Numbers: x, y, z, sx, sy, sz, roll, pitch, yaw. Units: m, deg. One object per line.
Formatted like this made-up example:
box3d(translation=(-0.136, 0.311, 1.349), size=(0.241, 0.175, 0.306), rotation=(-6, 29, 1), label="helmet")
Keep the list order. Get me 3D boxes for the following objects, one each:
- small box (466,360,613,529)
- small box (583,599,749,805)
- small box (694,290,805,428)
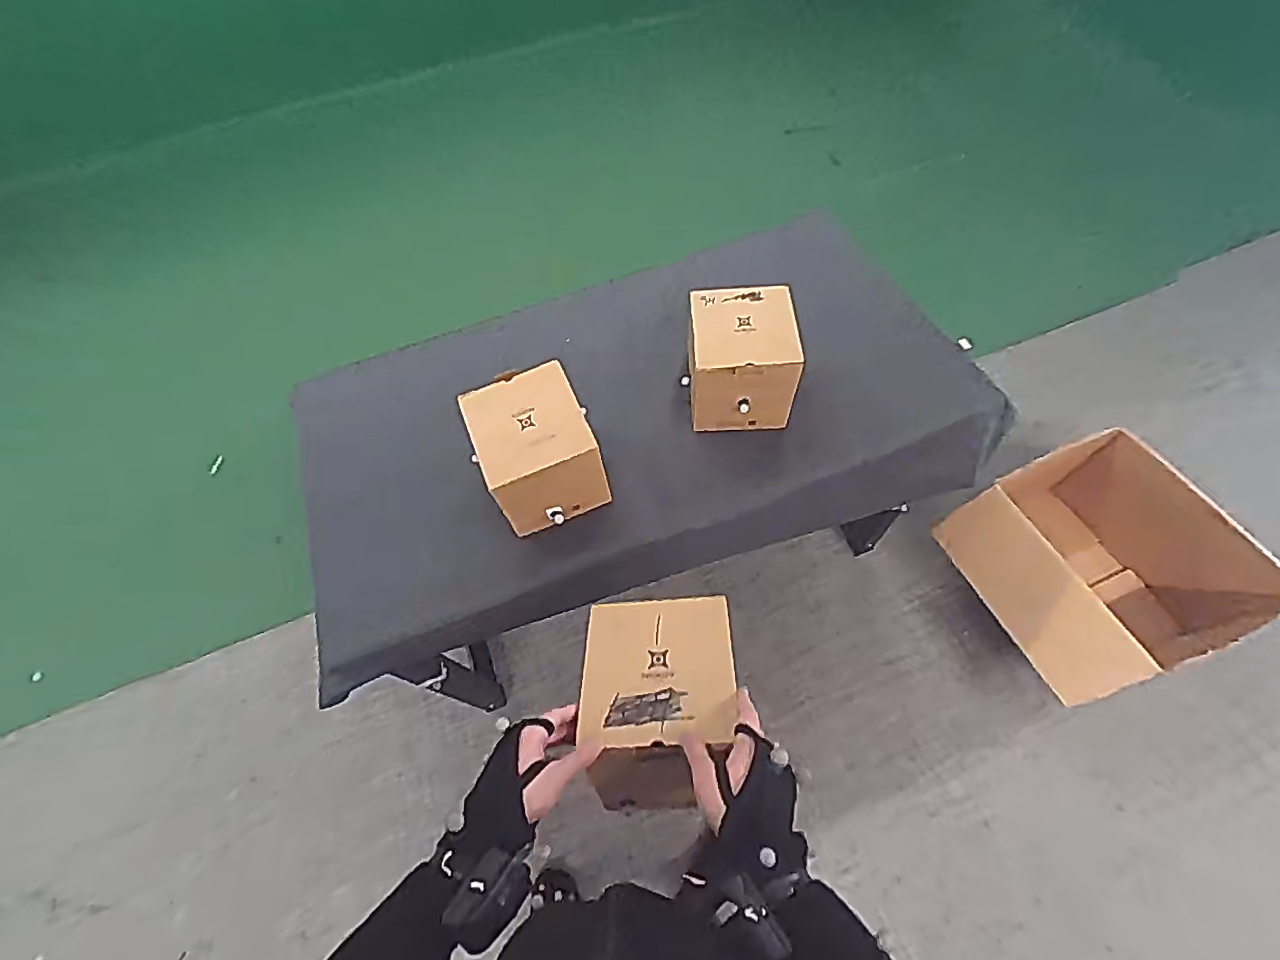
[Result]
box3d(translation=(-0.152, -0.052, 0.856), size=(0.168, 0.176, 0.179), rotation=(-22, 61, -9), label="small box")
box3d(translation=(0.038, 0.267, 0.645), size=(0.168, 0.176, 0.179), rotation=(-5, 39, 7), label="small box")
box3d(translation=(0.179, -0.201, 0.936), size=(0.168, 0.176, 0.179), rotation=(-2, 60, 3), label="small box")
